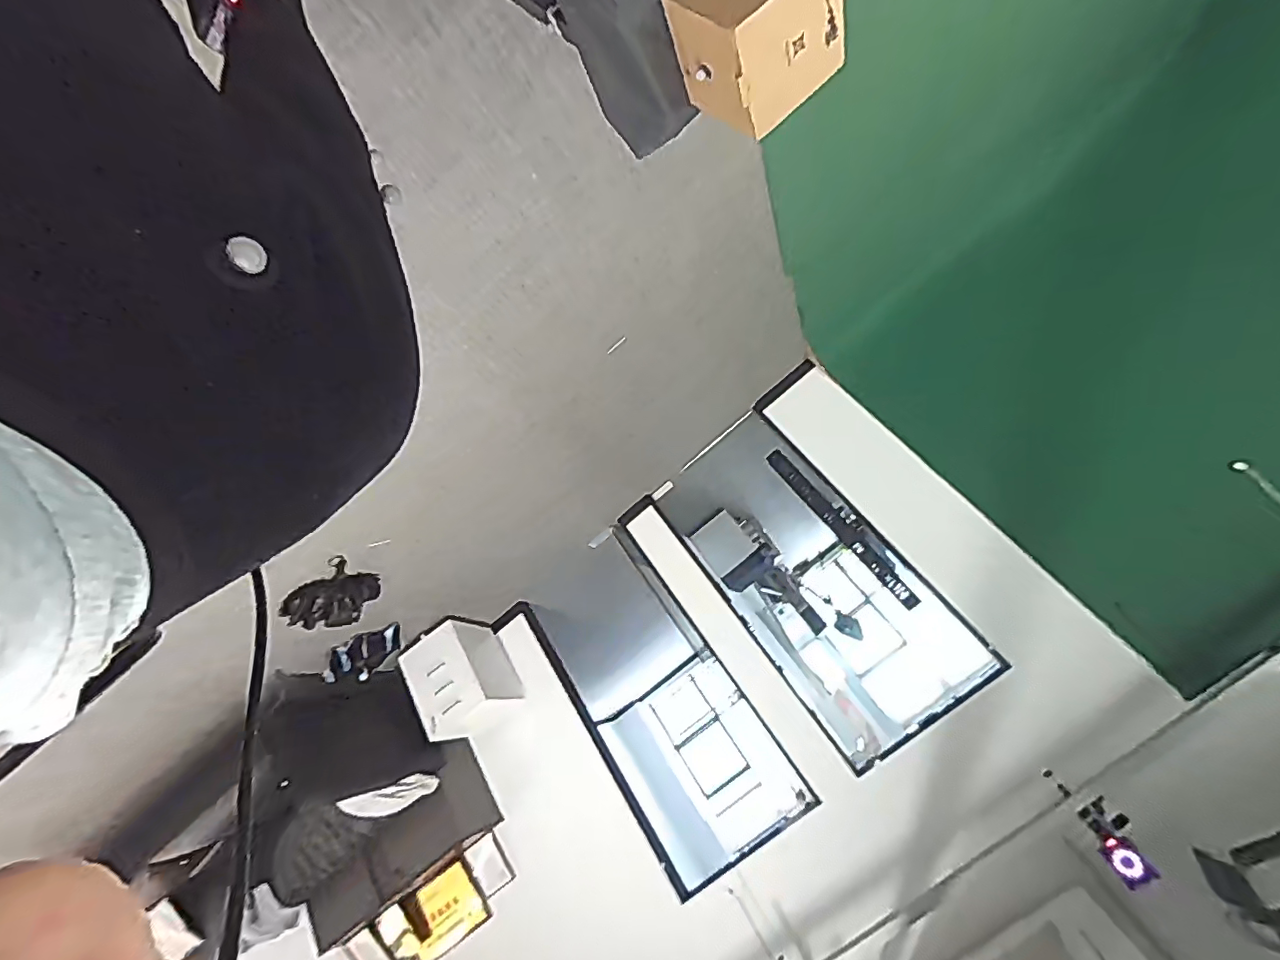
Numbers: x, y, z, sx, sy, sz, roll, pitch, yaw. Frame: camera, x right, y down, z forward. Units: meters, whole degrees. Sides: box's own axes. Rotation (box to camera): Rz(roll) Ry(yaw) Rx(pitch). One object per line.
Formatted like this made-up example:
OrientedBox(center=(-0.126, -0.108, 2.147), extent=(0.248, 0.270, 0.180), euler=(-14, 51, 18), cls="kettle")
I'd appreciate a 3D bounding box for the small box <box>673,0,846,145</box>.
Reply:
OrientedBox(center=(0.167, -0.638, 0.776), extent=(0.179, 0.176, 0.168), euler=(-40, 152, 4), cls="small box")
